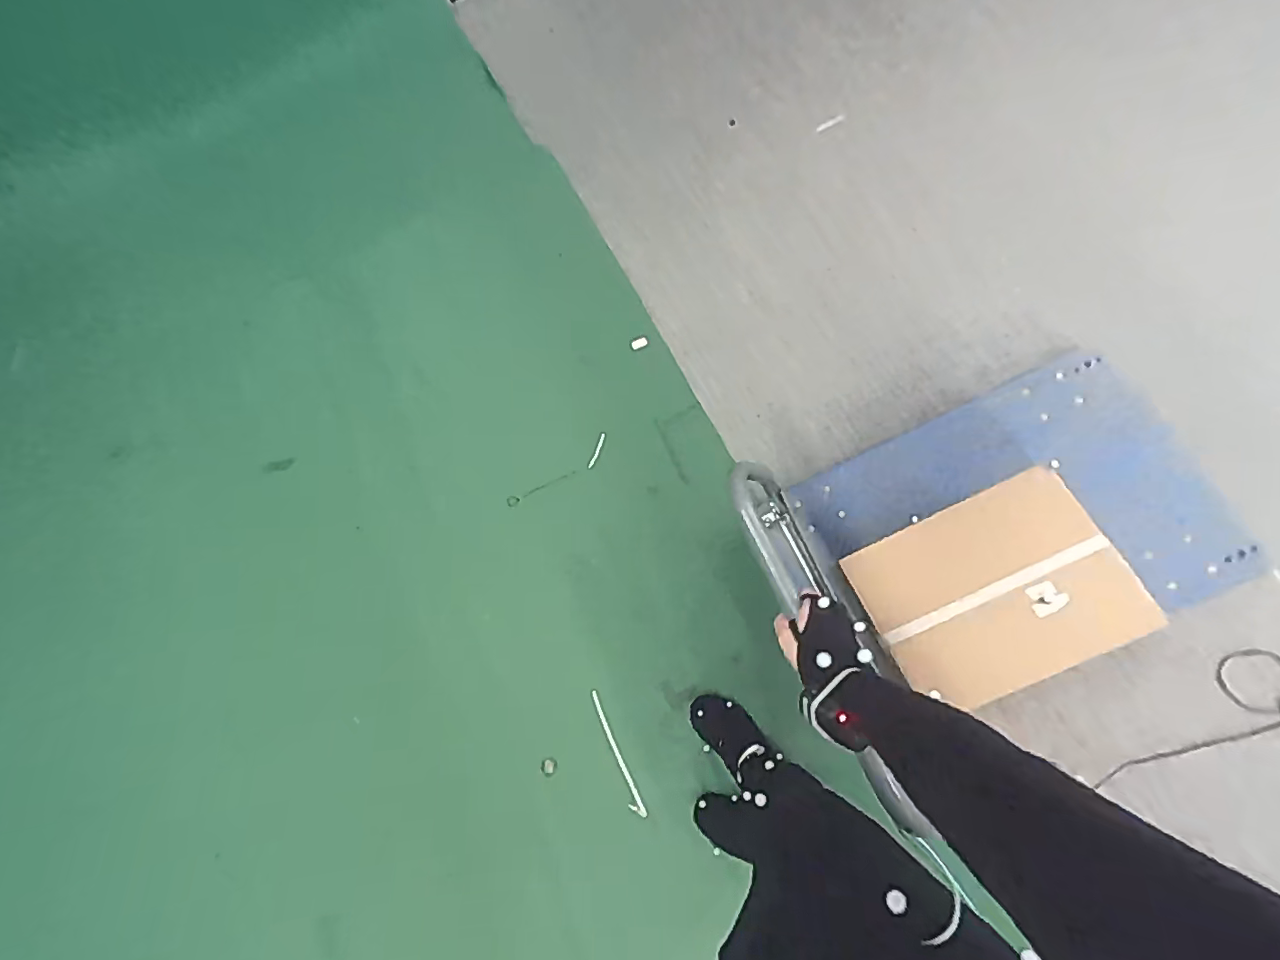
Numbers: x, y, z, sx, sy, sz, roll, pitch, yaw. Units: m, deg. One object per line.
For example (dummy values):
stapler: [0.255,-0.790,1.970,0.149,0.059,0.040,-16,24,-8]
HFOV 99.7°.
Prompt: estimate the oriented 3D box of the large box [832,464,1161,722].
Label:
large box: [0.654,0.228,1.089,0.408,0.320,0.320,-29,72,8]
